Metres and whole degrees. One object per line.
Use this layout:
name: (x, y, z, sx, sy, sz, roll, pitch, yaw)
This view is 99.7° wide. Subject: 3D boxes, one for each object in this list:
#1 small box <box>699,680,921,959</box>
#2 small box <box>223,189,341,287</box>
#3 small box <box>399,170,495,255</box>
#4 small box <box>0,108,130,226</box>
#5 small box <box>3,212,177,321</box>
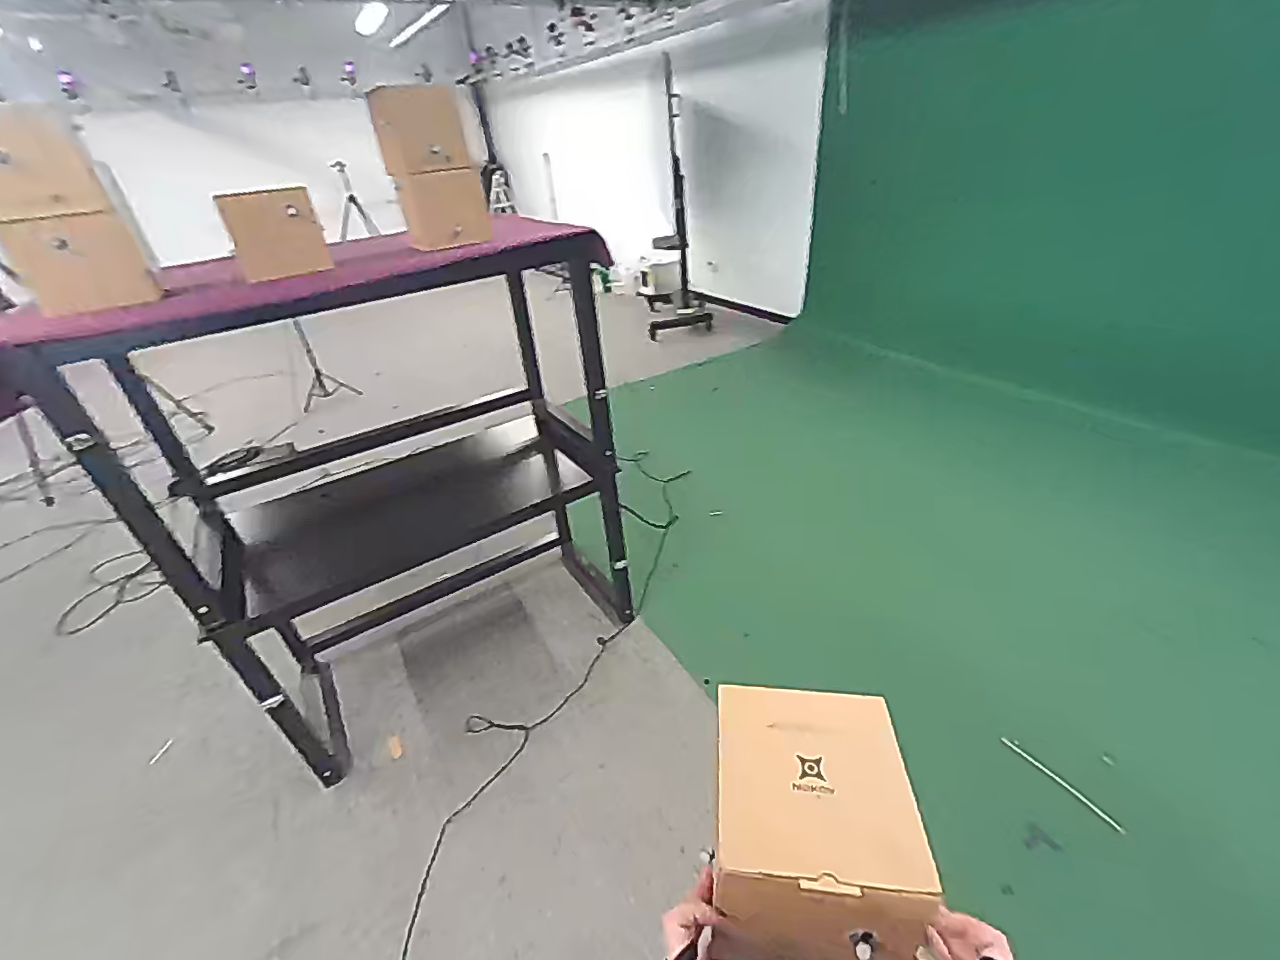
small box: (0.143, 0.323, 0.518, 0.168, 0.176, 0.179, 2, 30, 8)
small box: (-0.794, -0.547, 1.214, 0.179, 0.176, 0.168, -23, 36, -24)
small box: (-0.481, -0.679, 1.368, 0.179, 0.176, 0.168, -23, 35, -25)
small box: (-1.082, -0.563, 0.985, 0.168, 0.176, 0.179, -25, 37, -27)
small box: (-1.065, -0.424, 1.067, 0.179, 0.176, 0.168, -24, 37, -28)
